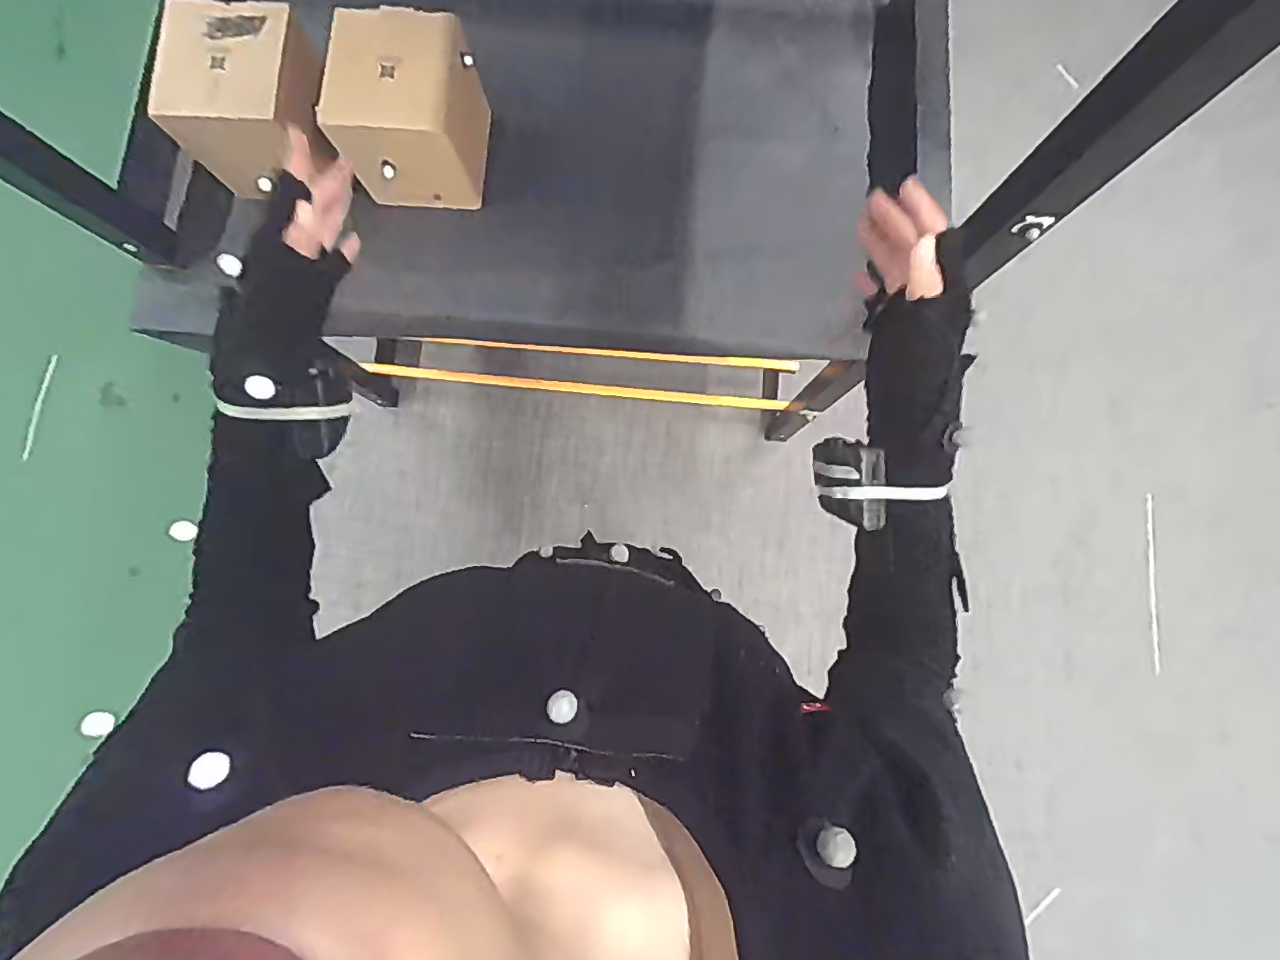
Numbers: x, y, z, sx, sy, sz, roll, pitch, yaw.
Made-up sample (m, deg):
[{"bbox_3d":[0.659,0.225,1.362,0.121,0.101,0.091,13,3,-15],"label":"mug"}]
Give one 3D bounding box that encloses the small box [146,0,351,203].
[{"bbox_3d":[-0.545,-0.537,0.781,0.168,0.176,0.179,3,82,1],"label":"small box"}]
